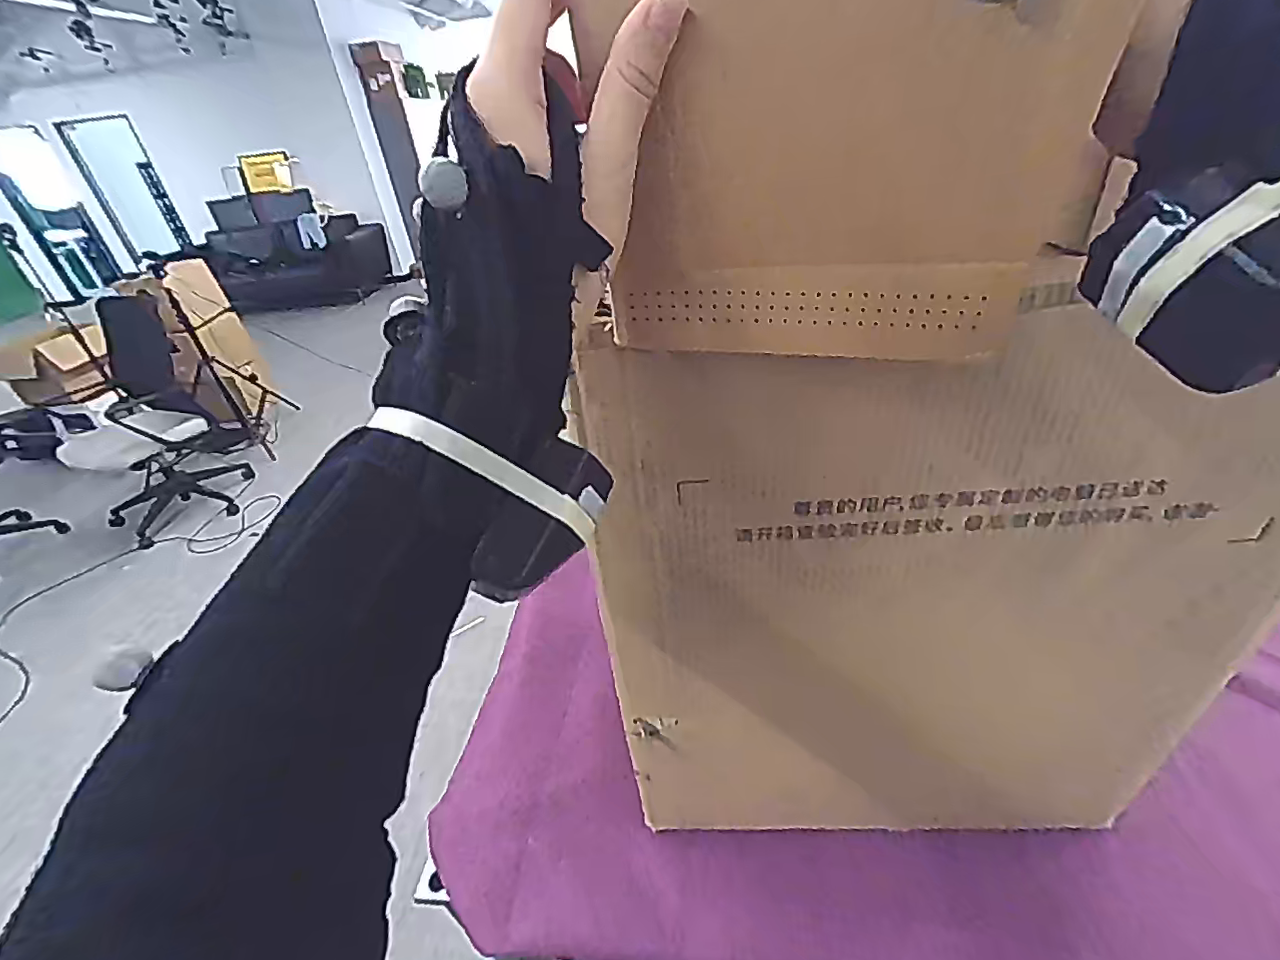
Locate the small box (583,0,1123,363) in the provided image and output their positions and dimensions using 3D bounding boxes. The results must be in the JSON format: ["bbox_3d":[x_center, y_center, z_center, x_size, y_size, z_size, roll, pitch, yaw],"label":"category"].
[{"bbox_3d":[0.081,-0.169,0.252,0.179,0.176,0.168,5,46,12],"label":"small box"}]
